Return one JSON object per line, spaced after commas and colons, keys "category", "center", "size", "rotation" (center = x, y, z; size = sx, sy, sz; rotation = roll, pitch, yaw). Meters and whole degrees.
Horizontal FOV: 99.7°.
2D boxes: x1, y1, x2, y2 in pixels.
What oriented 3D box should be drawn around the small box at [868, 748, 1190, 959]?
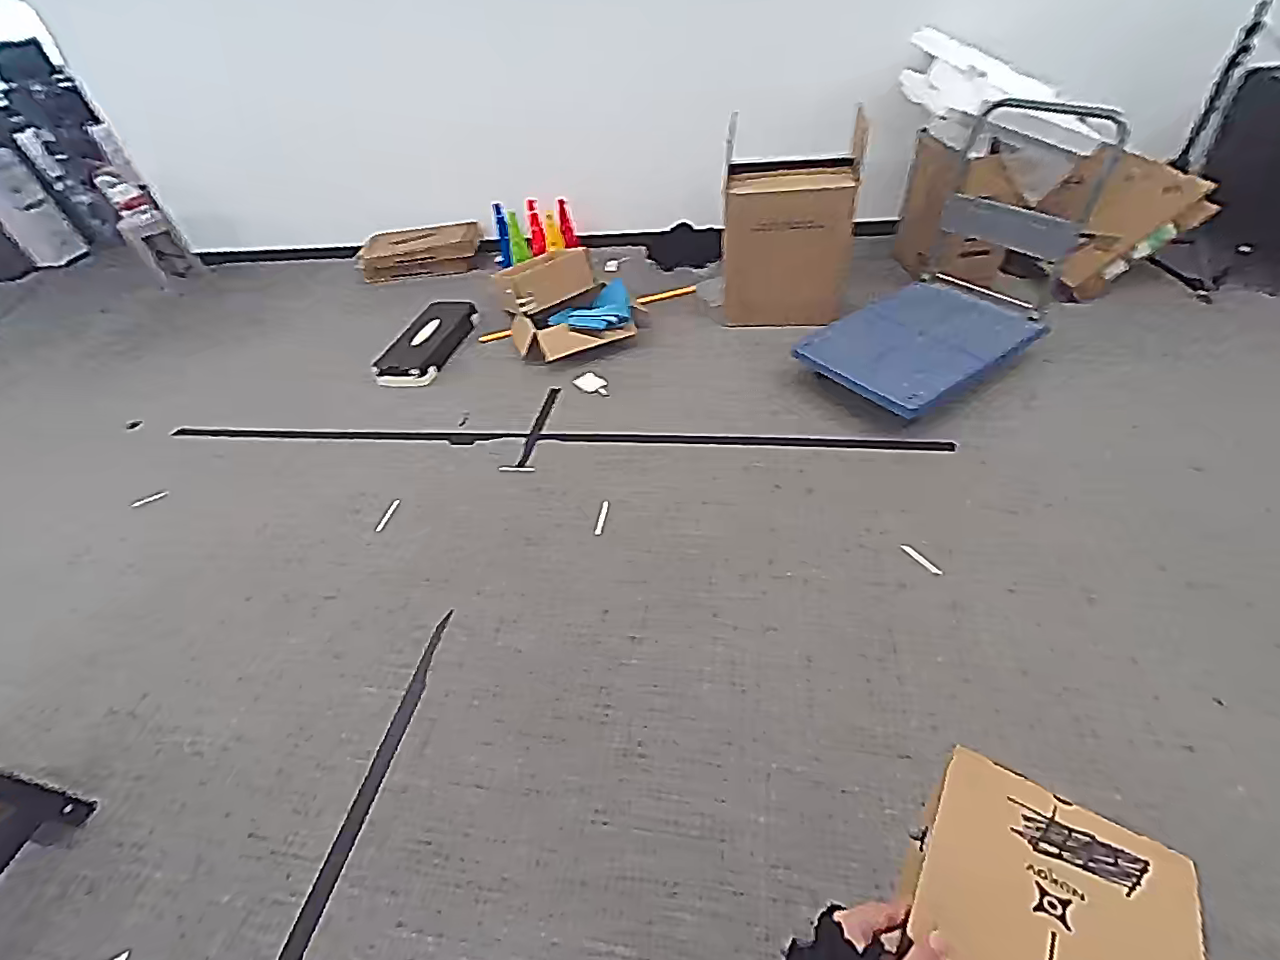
{"category": "small box", "center": [0.296, 0.373, 0.437], "size": [0.168, 0.176, 0.179], "rotation": [20, 38, 31]}
